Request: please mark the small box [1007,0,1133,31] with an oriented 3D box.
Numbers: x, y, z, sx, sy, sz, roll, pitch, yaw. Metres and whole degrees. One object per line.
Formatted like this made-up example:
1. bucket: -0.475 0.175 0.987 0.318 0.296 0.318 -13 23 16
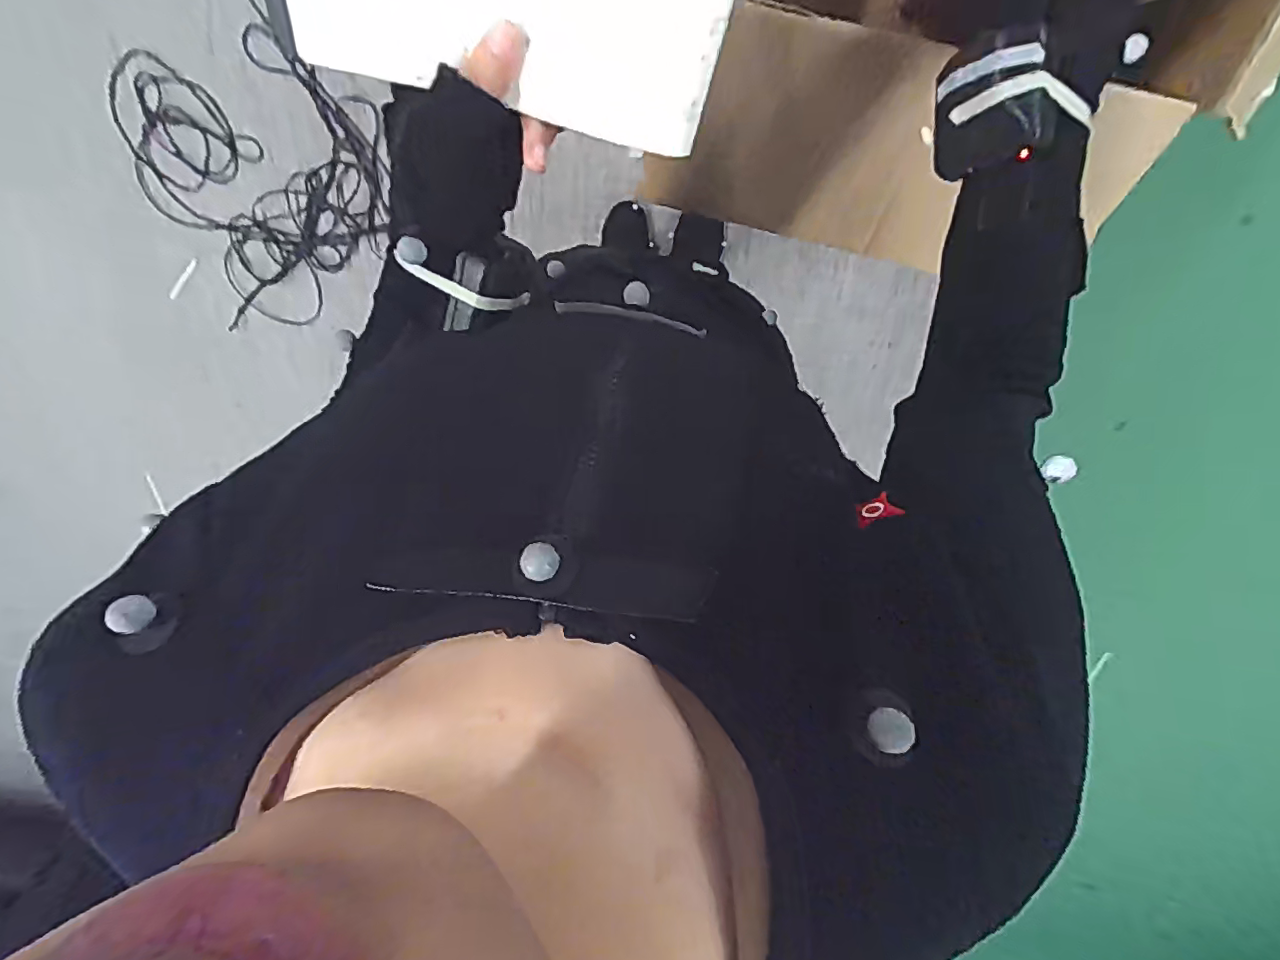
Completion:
1. small box: 0.338 -0.450 0.347 0.168 0.176 0.179 39 116 -15
